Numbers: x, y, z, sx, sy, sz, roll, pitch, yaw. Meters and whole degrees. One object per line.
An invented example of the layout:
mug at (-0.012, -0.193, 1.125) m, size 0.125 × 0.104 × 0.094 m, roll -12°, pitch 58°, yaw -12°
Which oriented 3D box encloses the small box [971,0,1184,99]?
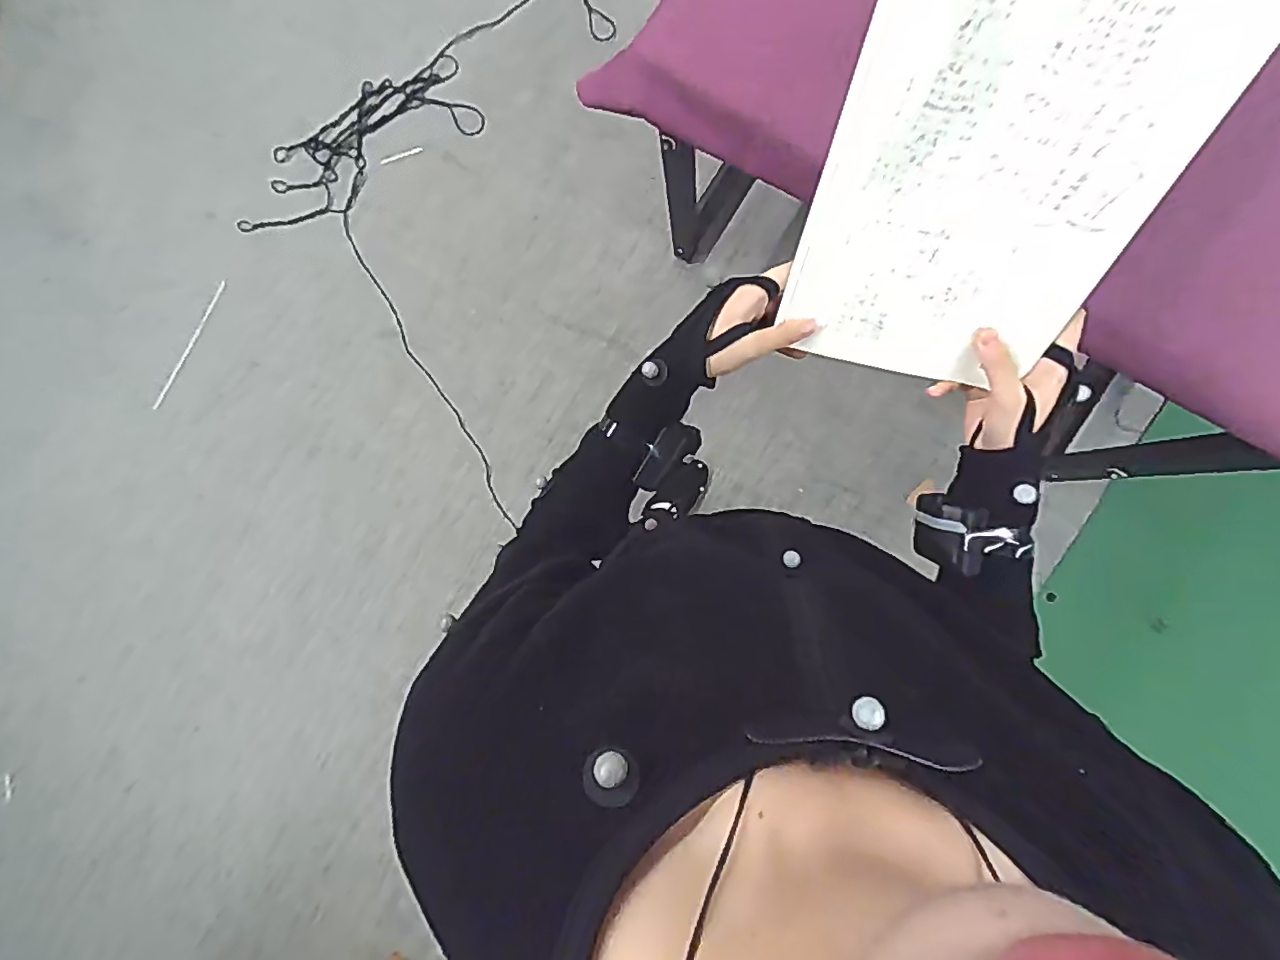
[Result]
small box at (0.466, -0.531, 0.528) m, size 0.168 × 0.176 × 0.179 m, roll 34°, pitch 90°, yaw 7°

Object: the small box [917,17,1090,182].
small box at (0.489, -0.529, 0.692) m, size 0.168 × 0.176 × 0.179 m, roll 34°, pitch 92°, yaw 7°
